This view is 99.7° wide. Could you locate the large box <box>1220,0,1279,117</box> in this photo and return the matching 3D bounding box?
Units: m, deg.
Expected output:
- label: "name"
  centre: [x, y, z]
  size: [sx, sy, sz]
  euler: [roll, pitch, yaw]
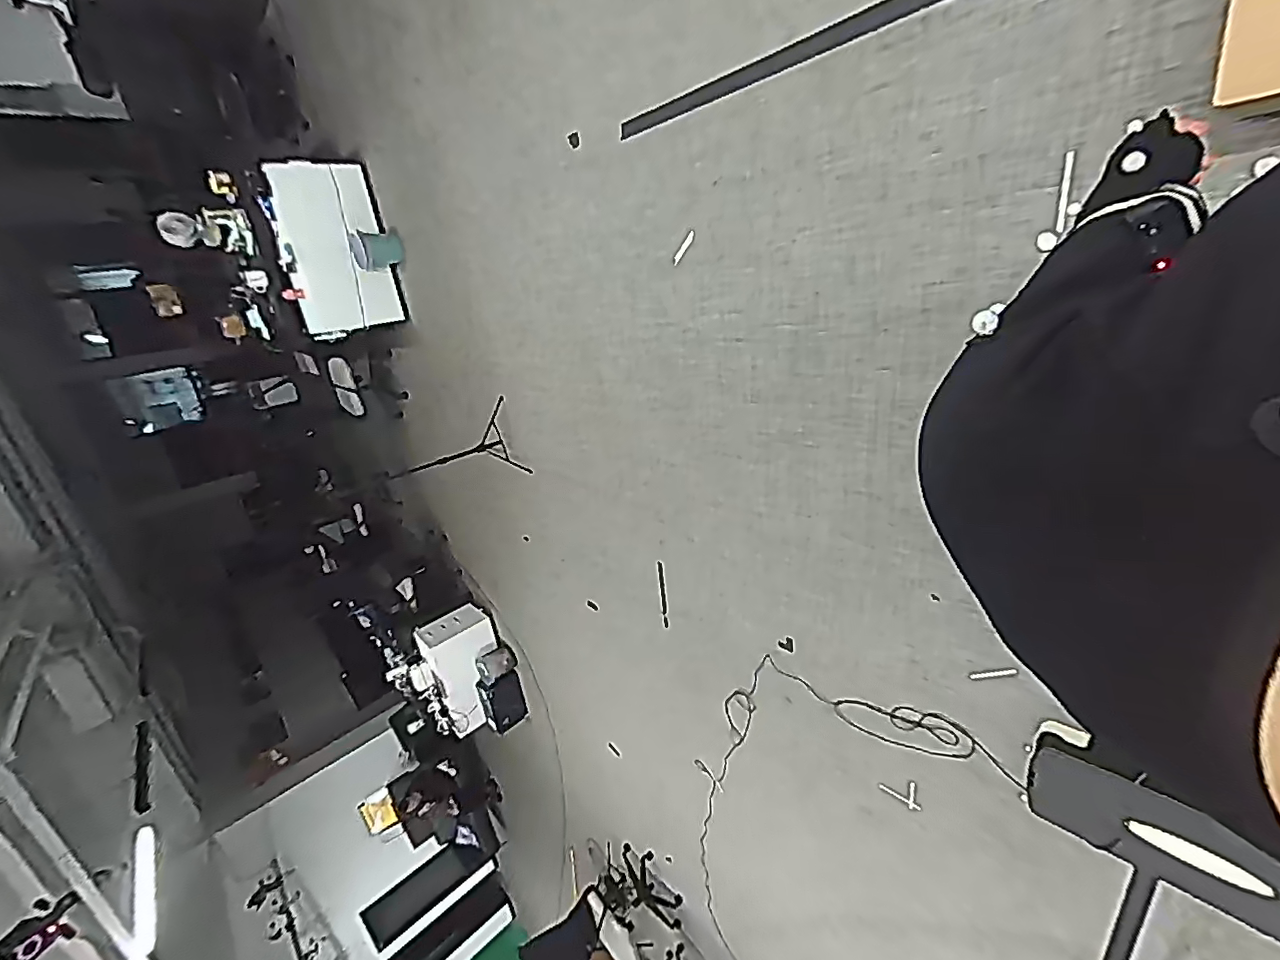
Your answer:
- label: "large box"
  centre: [1.014, -0.683, 0.645]
  size: [0.408, 0.320, 0.320]
  euler: [13, 120, 46]
